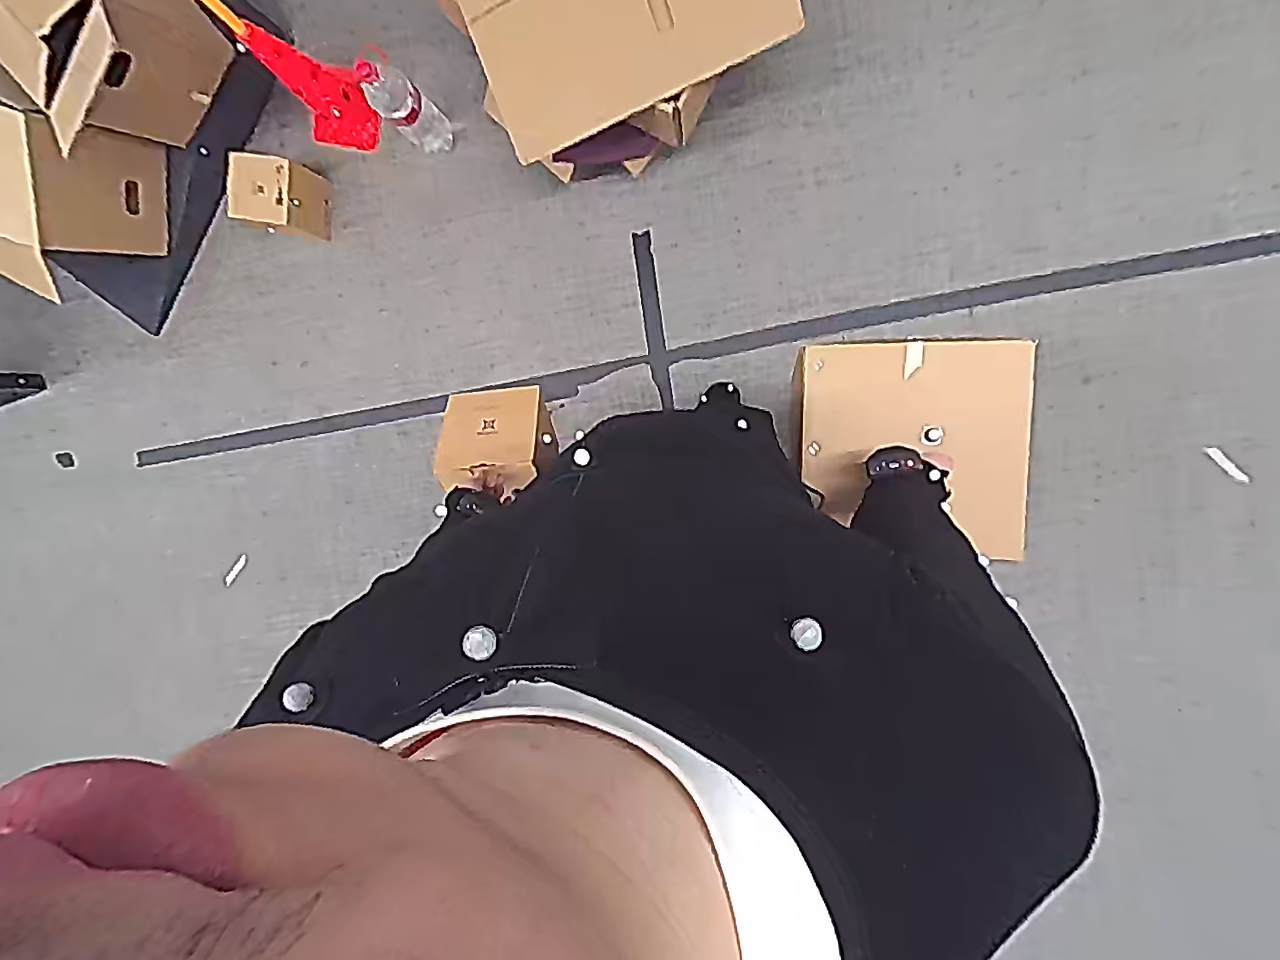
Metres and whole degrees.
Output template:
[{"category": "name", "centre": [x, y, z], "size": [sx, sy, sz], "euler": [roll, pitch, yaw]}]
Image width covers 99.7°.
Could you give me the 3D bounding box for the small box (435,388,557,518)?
[{"category": "small box", "centre": [-0.250, -0.041, 0.987], "size": [0.168, 0.179, 0.176], "euler": [-5, 144, 2]}]
